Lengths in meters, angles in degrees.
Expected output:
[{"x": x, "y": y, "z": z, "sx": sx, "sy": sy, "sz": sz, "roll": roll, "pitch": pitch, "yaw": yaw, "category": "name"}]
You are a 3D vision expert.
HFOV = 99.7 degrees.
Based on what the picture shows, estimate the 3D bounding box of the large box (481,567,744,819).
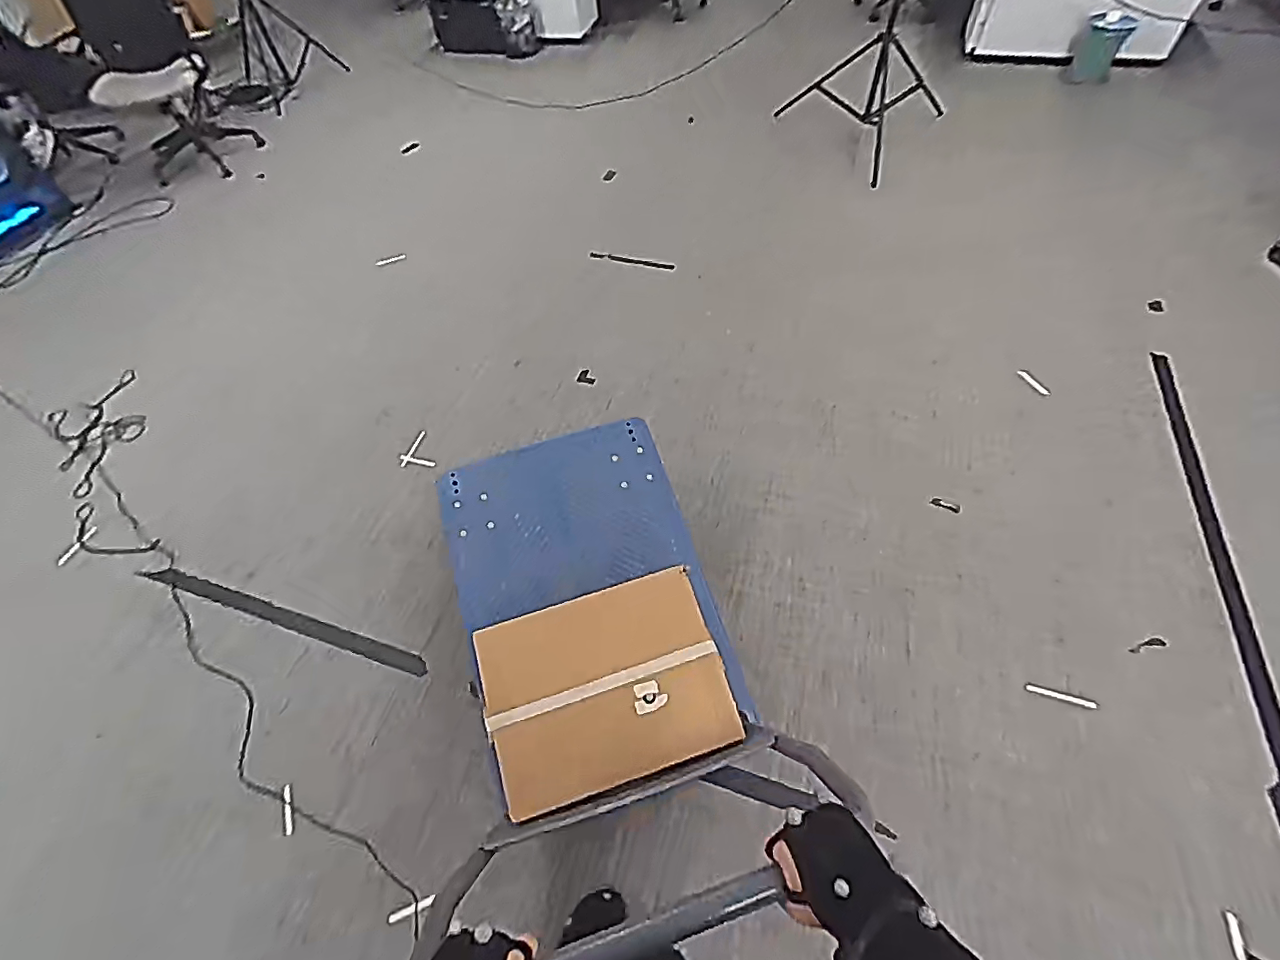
[{"x": -0.058, "y": 0.417, "z": 1.090, "sx": 0.408, "sy": 0.320, "sz": 0.320, "roll": -17, "pitch": 69, "yaw": -9, "category": "large box"}]
